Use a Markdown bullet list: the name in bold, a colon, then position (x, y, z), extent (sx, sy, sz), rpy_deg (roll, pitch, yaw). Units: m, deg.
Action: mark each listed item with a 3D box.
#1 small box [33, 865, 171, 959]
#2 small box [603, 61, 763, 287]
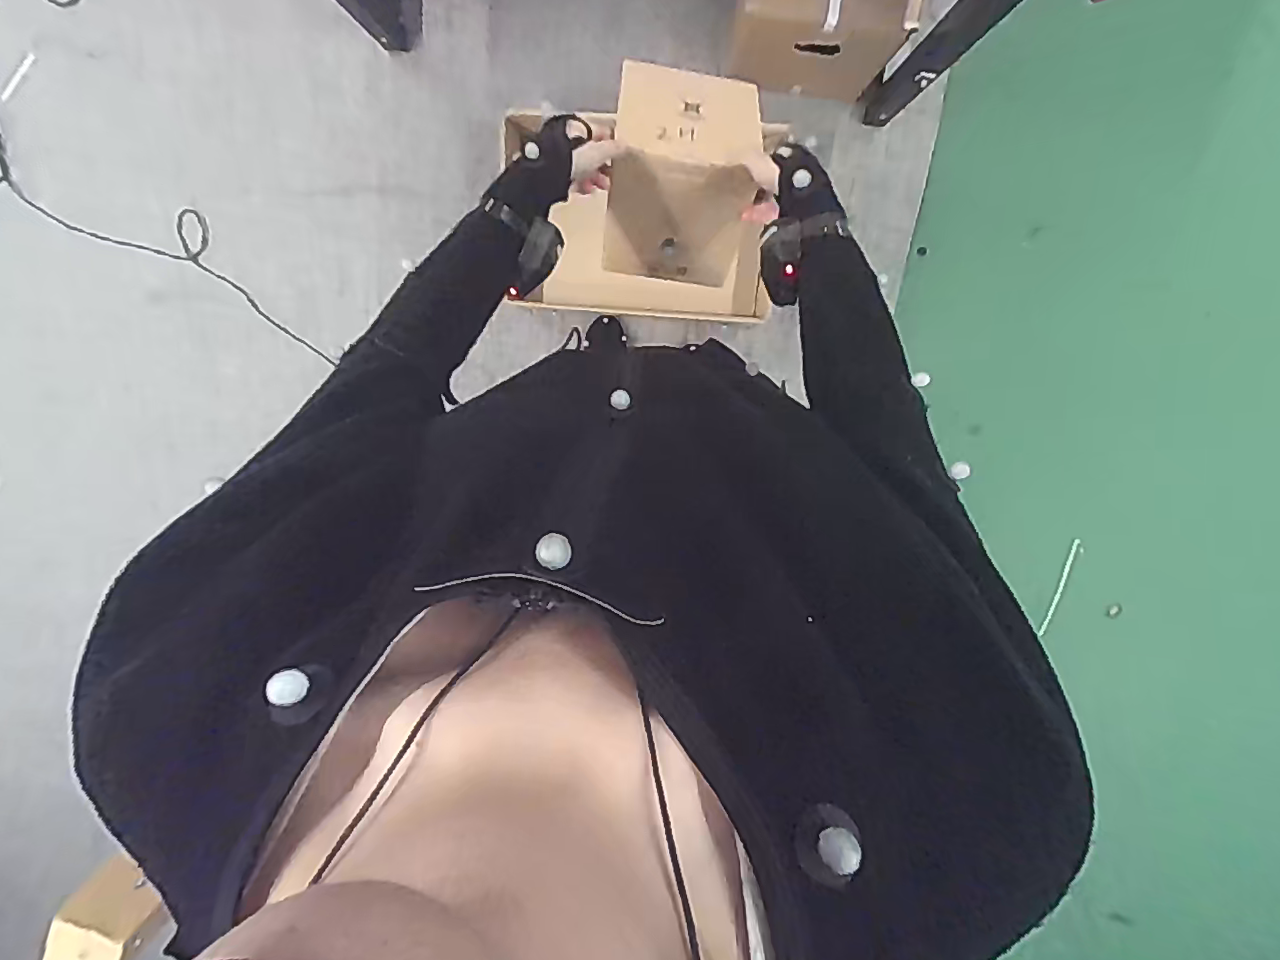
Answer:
- **small box**: position (-1.277, 1.078, 1.290), extent (0.168, 0.176, 0.179), rpy_deg (25, 104, -5)
- **small box**: position (0.046, -0.376, 0.680), extent (0.168, 0.176, 0.179), rpy_deg (6, 61, -5)
